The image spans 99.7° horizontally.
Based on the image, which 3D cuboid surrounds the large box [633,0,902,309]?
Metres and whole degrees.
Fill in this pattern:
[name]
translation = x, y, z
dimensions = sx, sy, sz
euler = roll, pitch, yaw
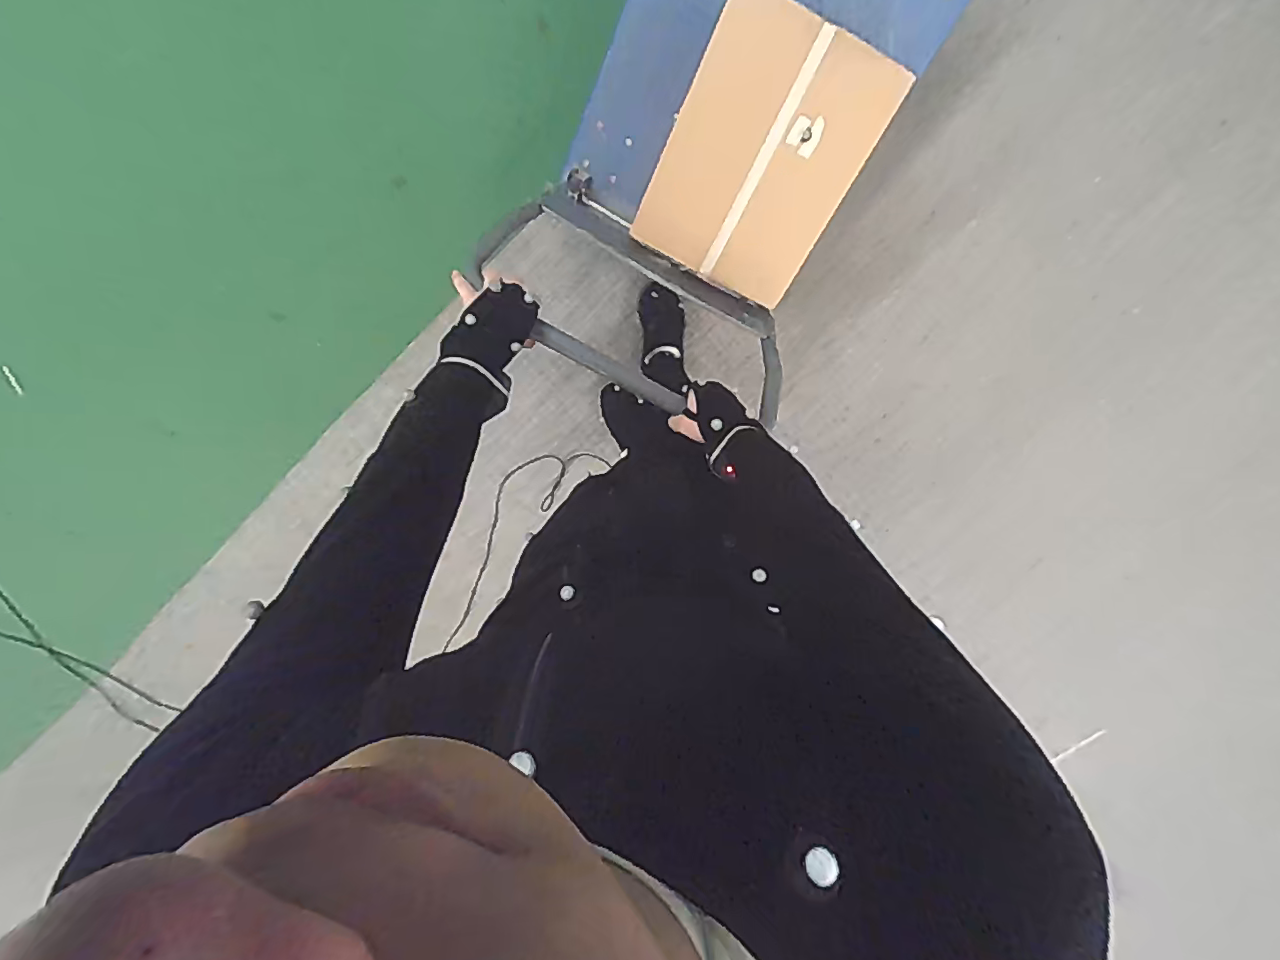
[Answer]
[large box]
translation = 0.219, -0.618, 1.066
dimensions = 0.320, 0.320, 0.408
euler = 25, 121, -9
